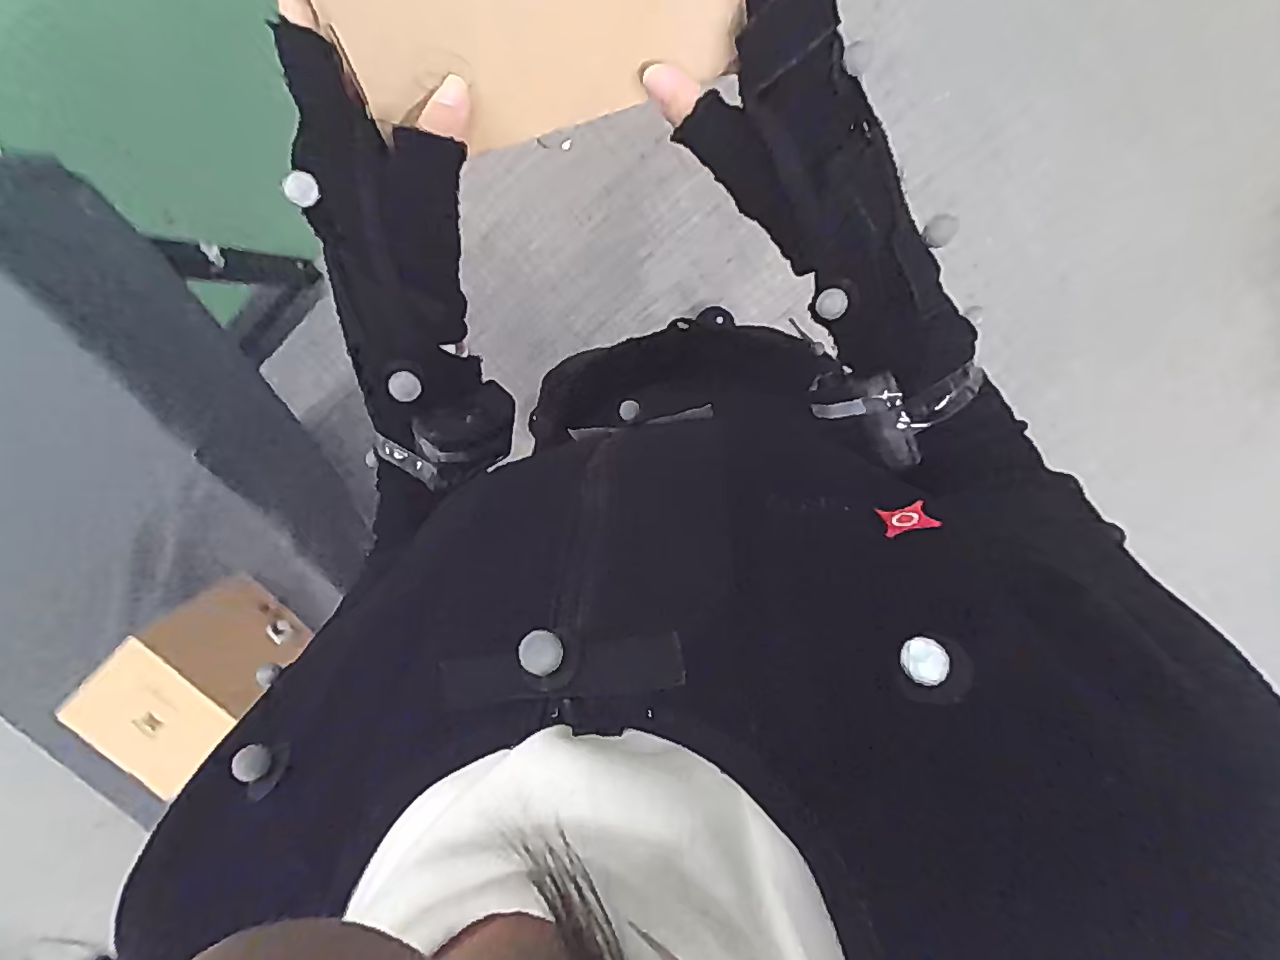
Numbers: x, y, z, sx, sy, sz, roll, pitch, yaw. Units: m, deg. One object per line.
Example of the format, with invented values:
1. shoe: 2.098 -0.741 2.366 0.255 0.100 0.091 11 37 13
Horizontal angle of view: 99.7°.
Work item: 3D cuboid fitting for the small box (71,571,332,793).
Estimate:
1. small box: -0.557 0.255 0.713 0.179 0.176 0.168 -41 100 14
